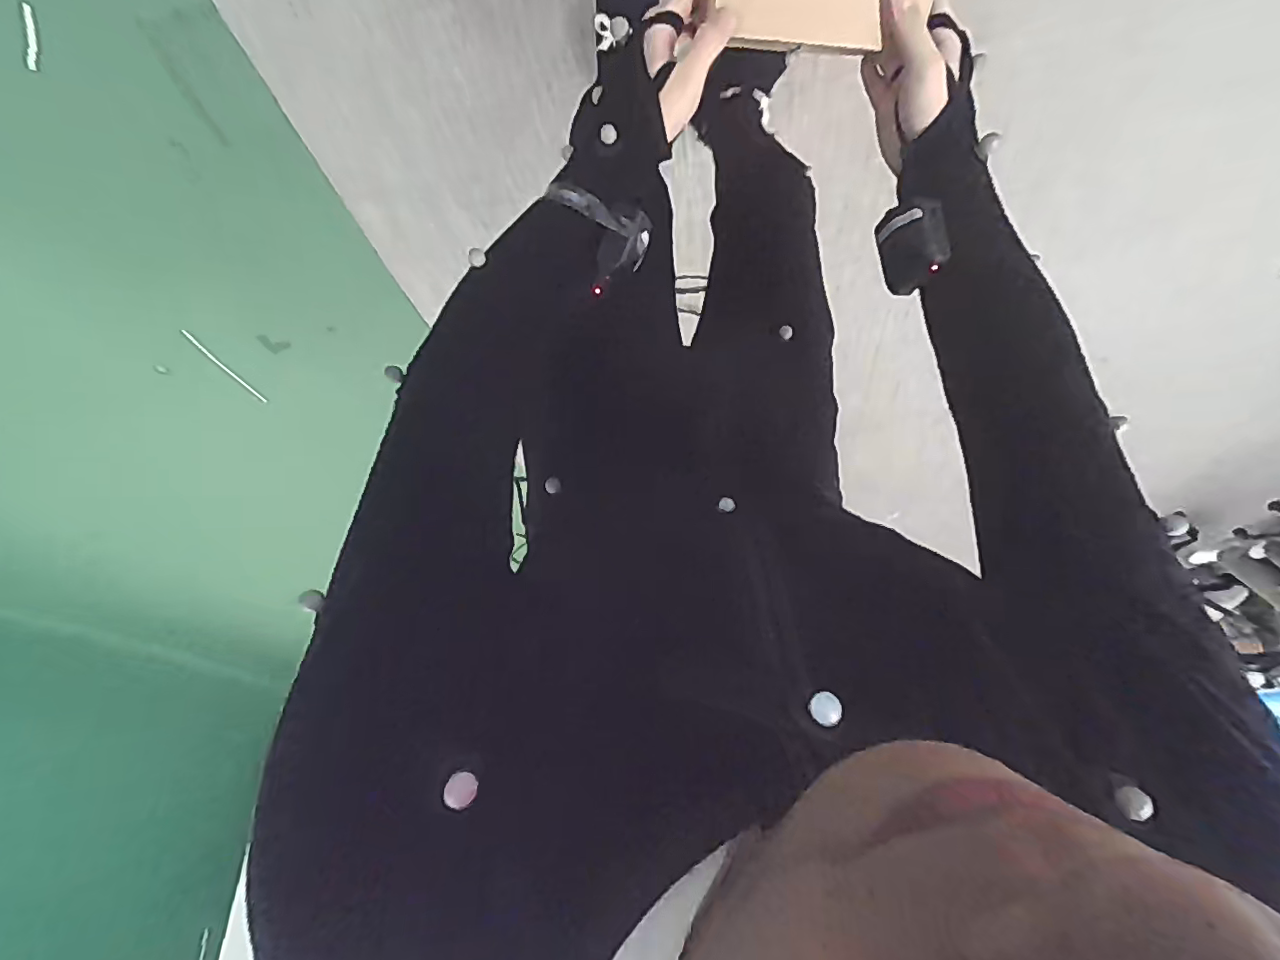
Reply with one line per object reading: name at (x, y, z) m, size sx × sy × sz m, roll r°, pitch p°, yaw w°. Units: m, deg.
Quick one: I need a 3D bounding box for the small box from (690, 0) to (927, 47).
small box at (0.142, -0.475, 0.451) m, size 0.179 × 0.176 × 0.168 m, roll 1°, pitch 127°, yaw -4°
